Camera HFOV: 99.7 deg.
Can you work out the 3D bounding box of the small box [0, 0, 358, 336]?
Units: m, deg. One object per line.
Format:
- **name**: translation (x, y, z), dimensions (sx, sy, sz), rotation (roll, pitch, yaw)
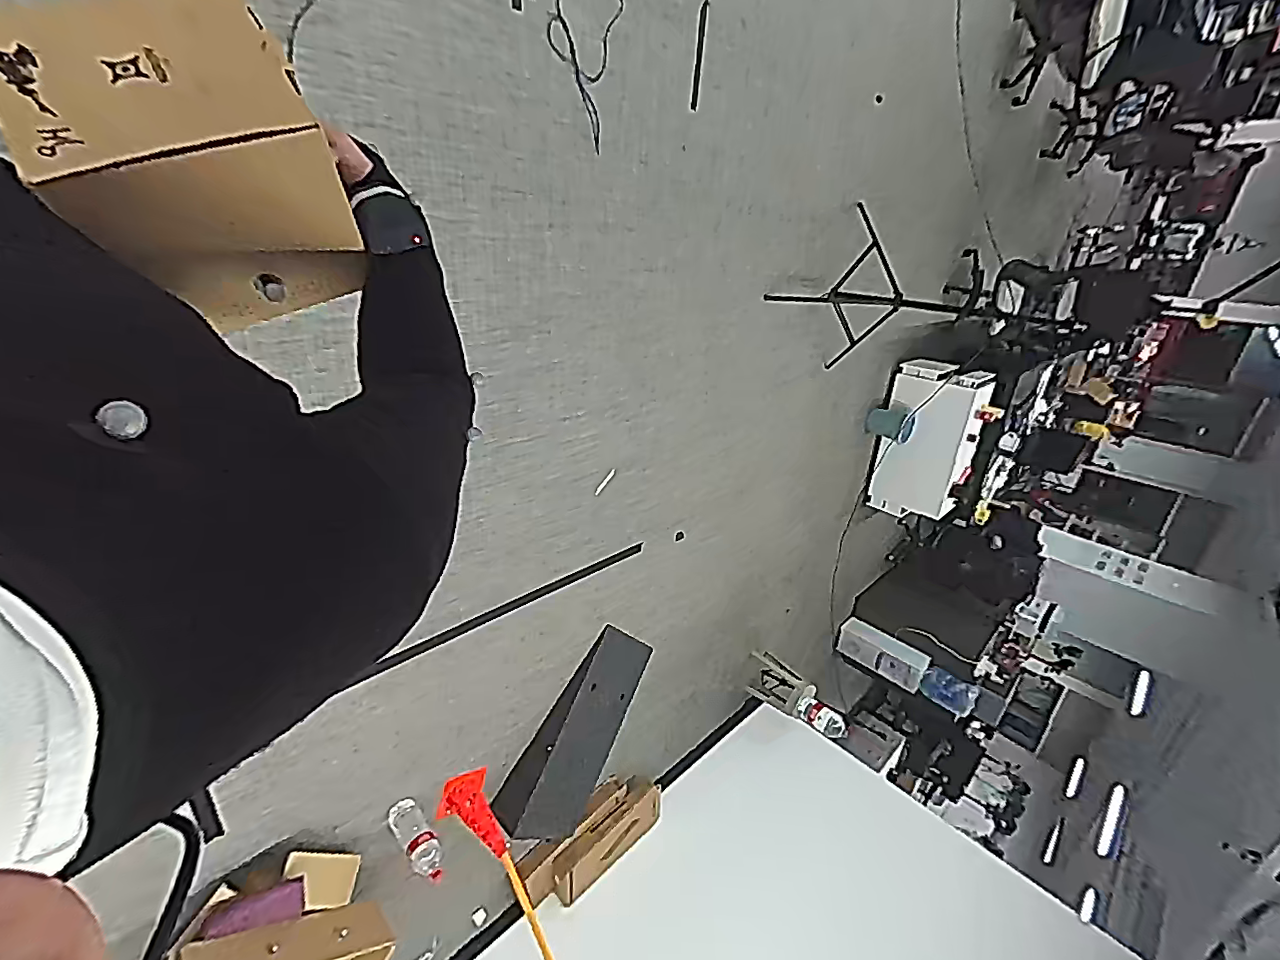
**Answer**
- **small box**: translation (-0.368, -0.258, 0.464), dimensions (0.179, 0.168, 0.176), rotation (-28, 167, -21)
